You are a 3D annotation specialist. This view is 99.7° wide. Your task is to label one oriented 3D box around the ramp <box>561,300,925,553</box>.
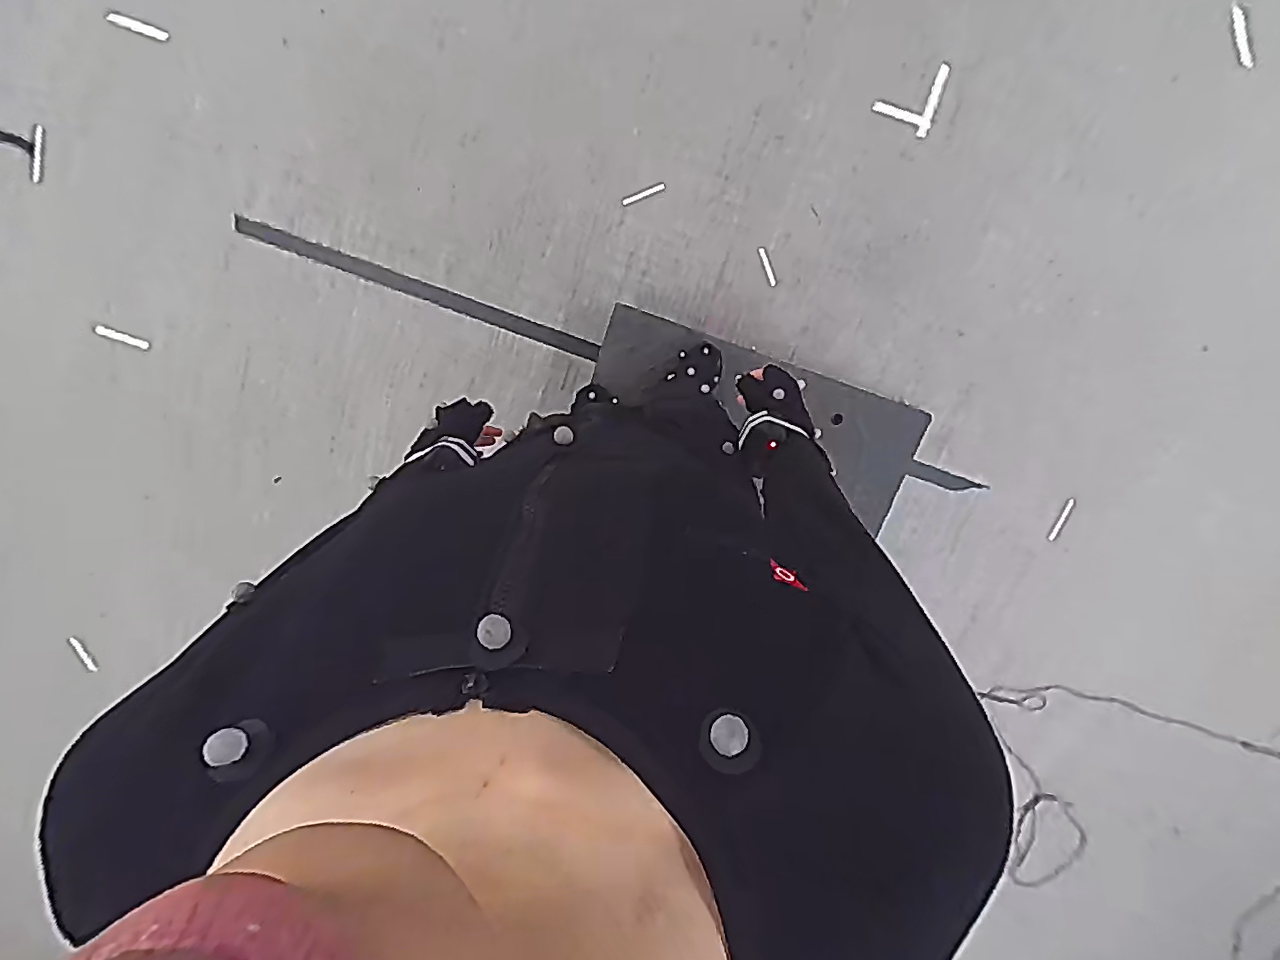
[{"bbox_3d":[0.319,-0.116,1.549,0.991,0.206,0.509,16,102,-4],"label":"ramp"}]
